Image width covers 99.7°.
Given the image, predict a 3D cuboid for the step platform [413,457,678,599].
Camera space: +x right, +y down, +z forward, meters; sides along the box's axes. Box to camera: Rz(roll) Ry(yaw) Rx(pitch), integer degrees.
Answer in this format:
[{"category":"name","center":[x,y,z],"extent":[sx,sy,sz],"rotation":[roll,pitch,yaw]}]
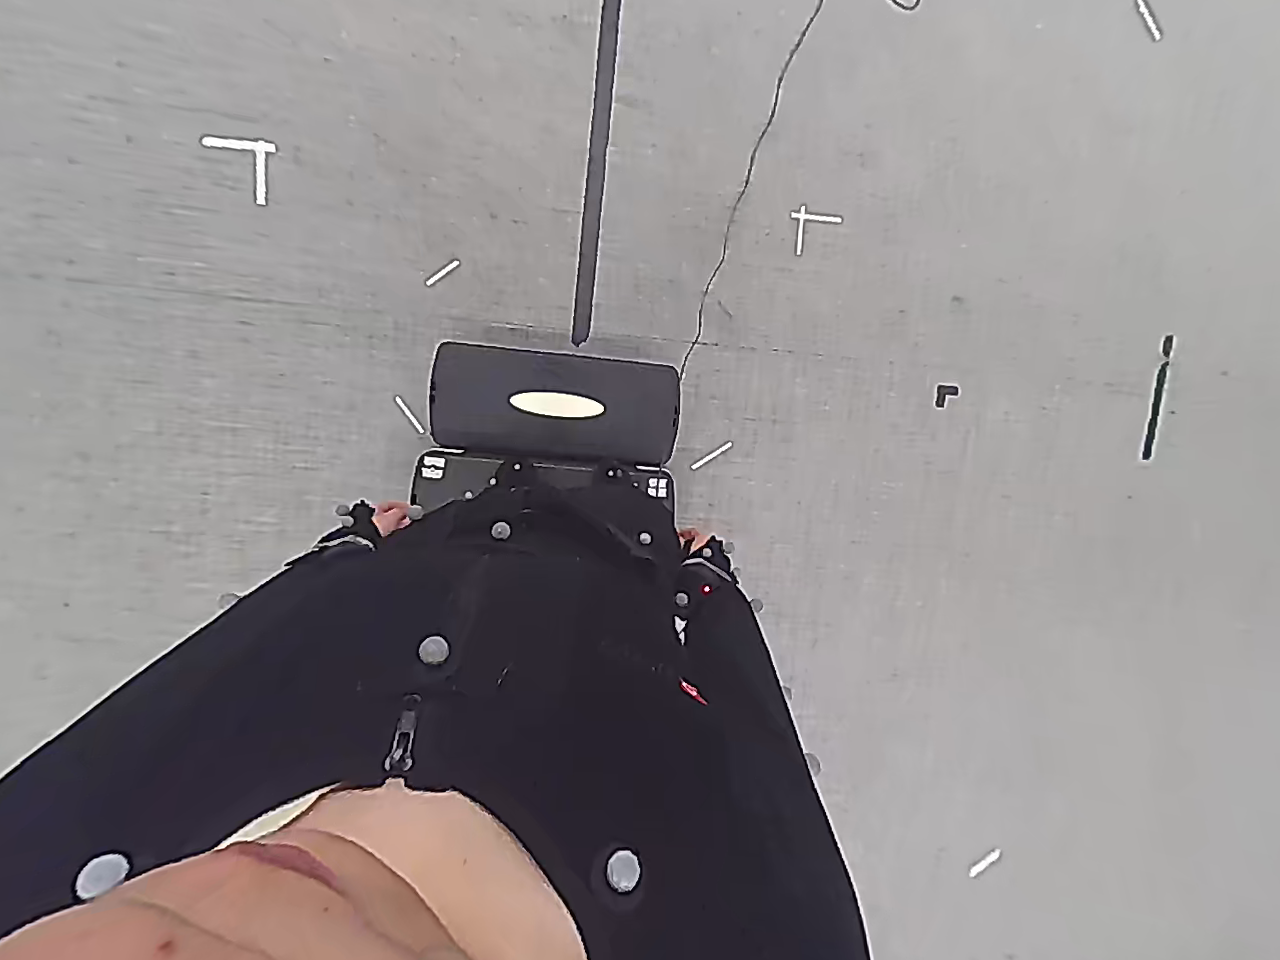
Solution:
[{"category":"step platform","center":[-0.240,0.128,1.459],"extent":[0.684,0.204,0.286],"rotation":[9,92,-5]}]
